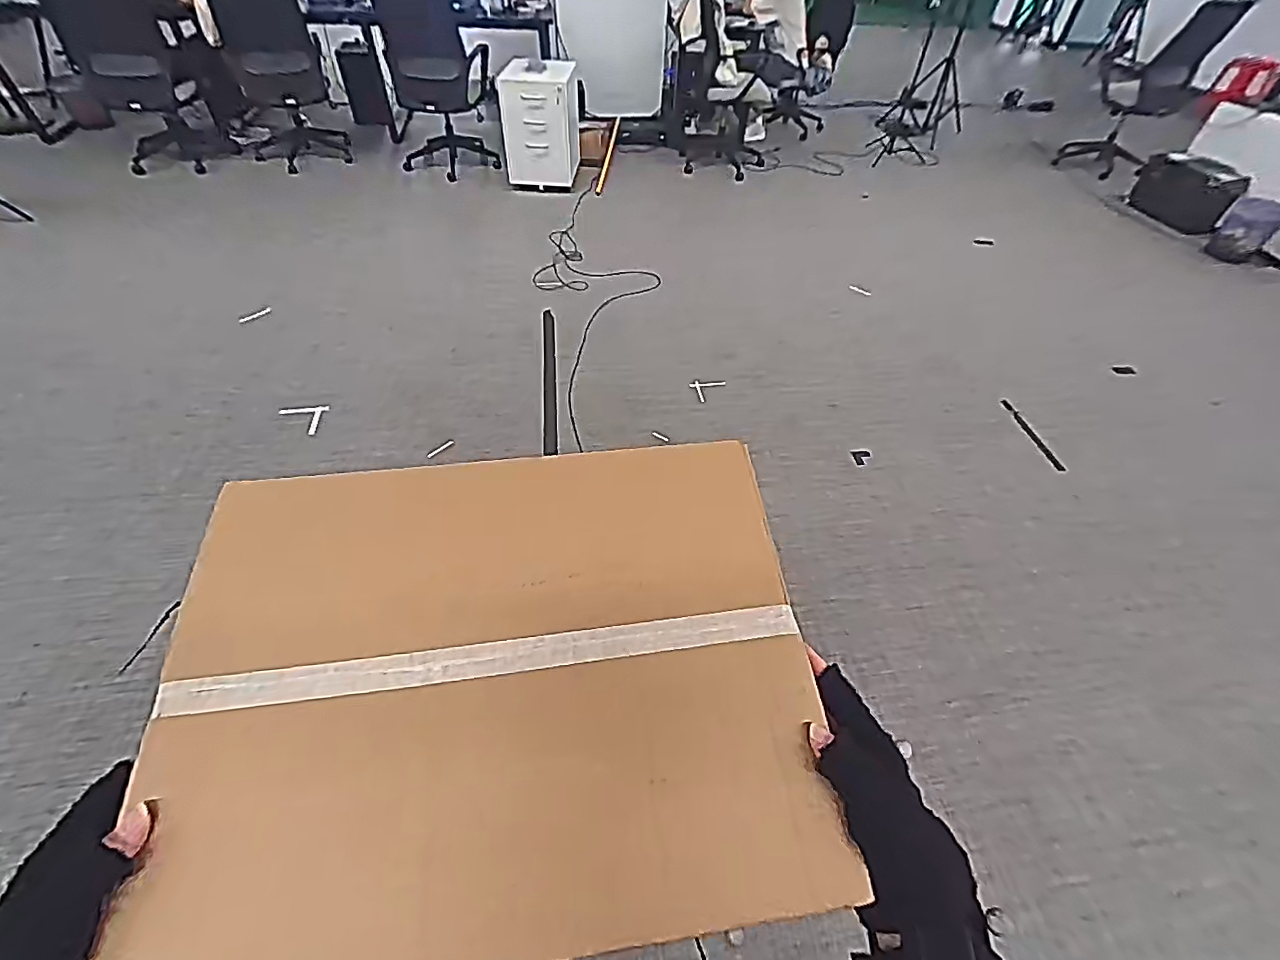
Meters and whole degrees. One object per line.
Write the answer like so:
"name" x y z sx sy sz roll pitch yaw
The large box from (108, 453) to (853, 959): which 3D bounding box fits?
"large box" -0.099 0.203 0.485 0.408 0.320 0.320 -6 58 -6
